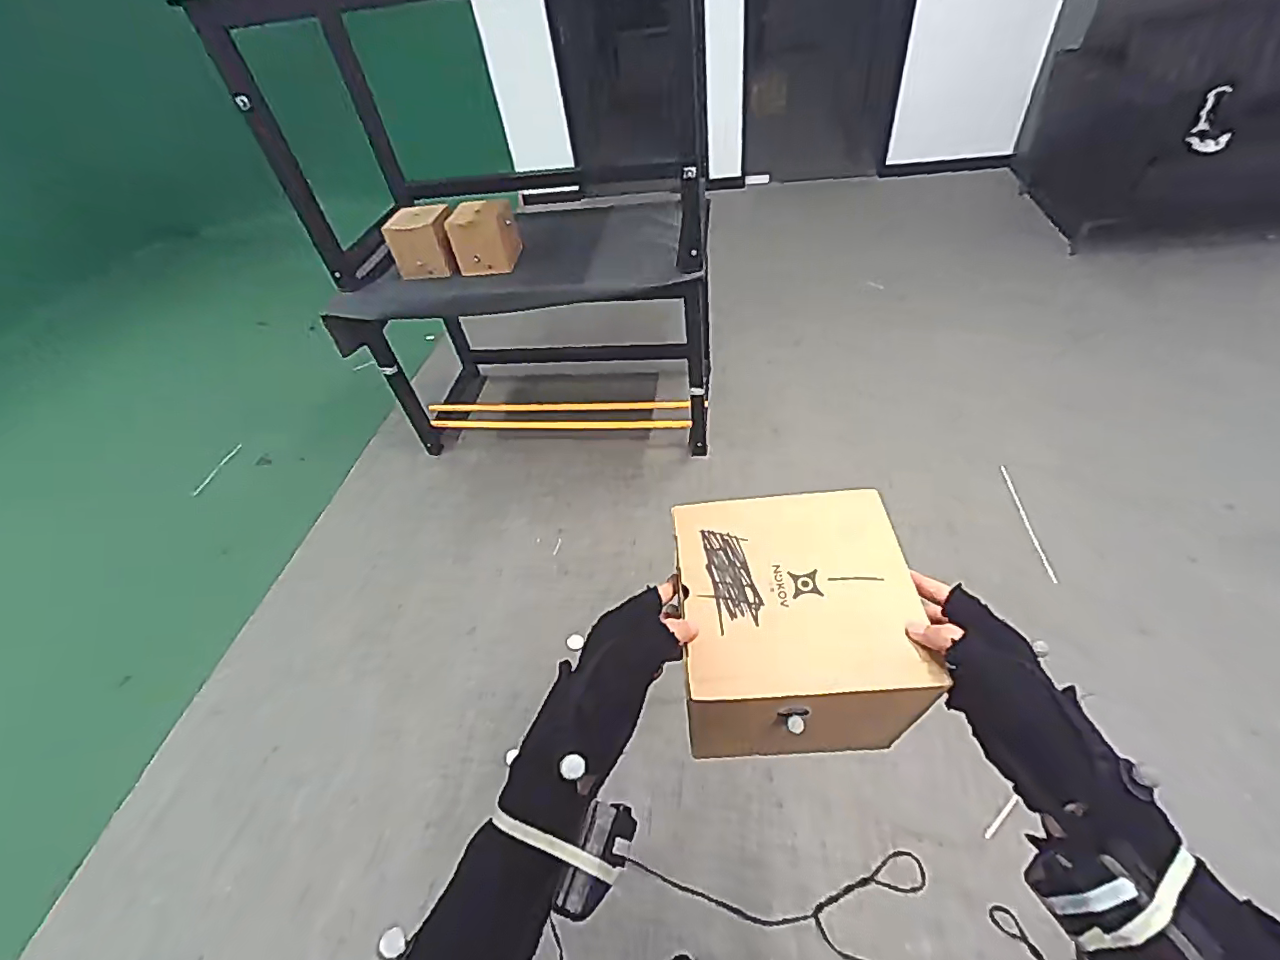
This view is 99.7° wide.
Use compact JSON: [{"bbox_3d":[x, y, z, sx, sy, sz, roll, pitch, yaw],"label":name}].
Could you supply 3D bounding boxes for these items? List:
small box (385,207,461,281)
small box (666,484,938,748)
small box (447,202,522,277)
[{"bbox_3d":[-0.699,-0.777,1.782,0.168,0.176,0.179,-1,47,8],"label":"small box"},{"bbox_3d":[0.119,0.125,0.474,0.179,0.176,0.168,-5,50,3],"label":"small box"},{"bbox_3d":[-0.496,-0.779,1.757,0.168,0.176,0.179,-1,46,9],"label":"small box"}]
